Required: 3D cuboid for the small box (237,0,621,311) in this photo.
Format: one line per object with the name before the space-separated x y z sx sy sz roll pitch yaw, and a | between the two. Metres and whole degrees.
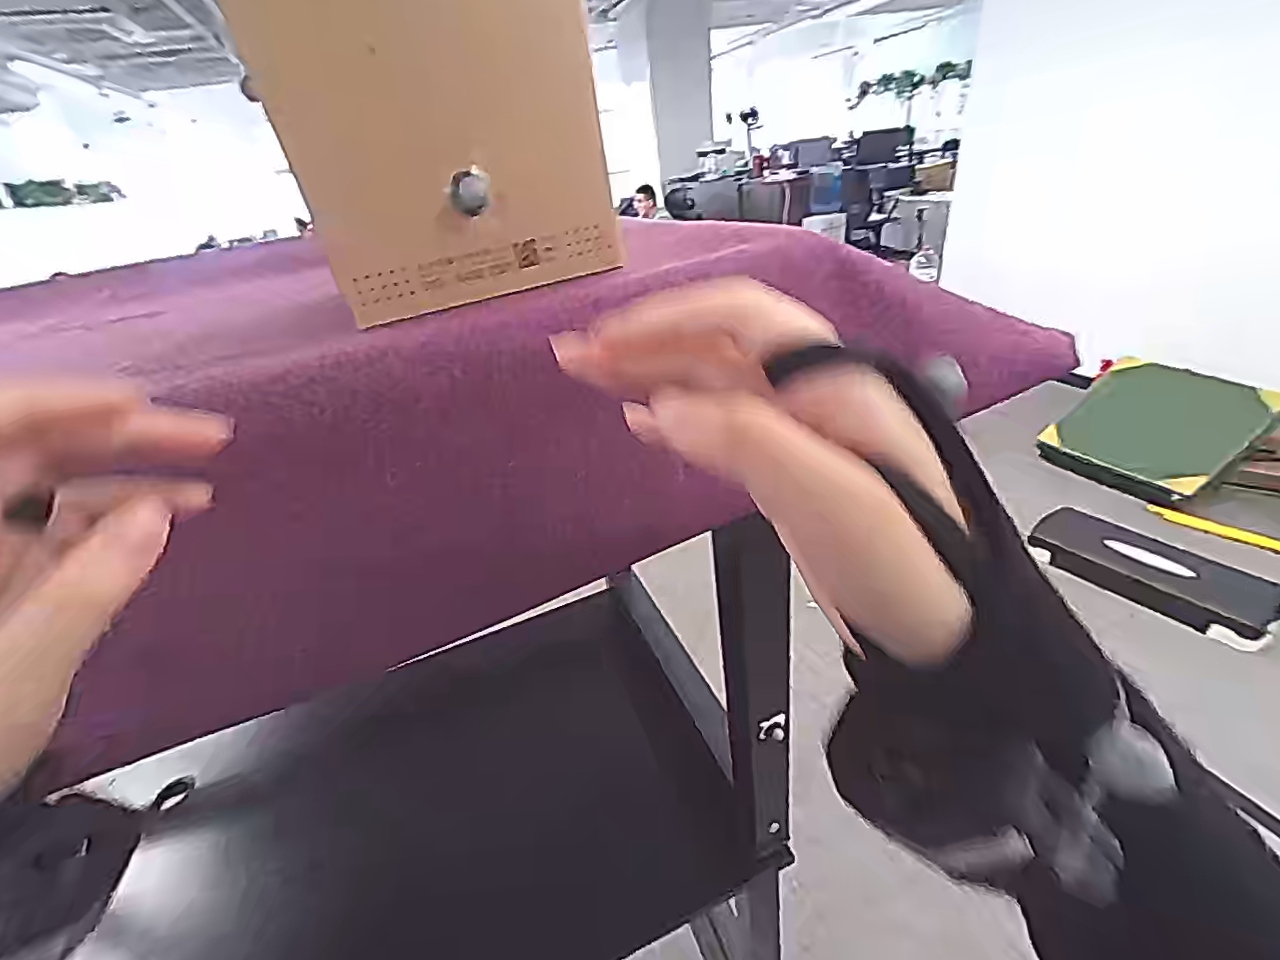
small box | -0.126 -0.216 0.348 0.168 0.176 0.179 -20 32 -17
